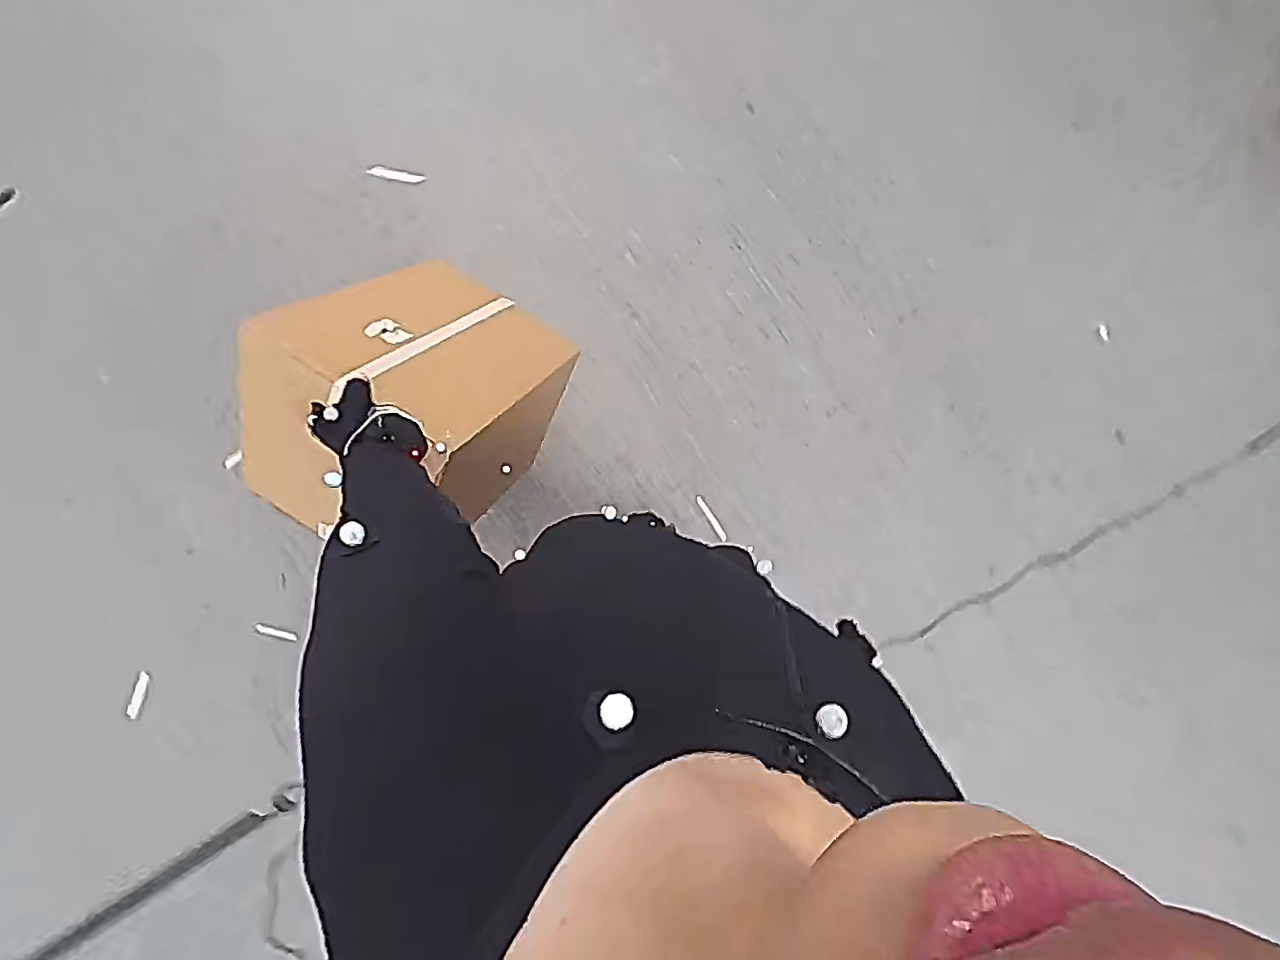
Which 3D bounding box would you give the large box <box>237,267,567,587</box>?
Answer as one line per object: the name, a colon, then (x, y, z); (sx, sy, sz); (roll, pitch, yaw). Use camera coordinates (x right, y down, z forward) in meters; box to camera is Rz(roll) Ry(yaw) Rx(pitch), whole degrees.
large box: (-0.381, -0.105, 0.926); (0.320, 0.408, 0.320); (30, 129, 0)
